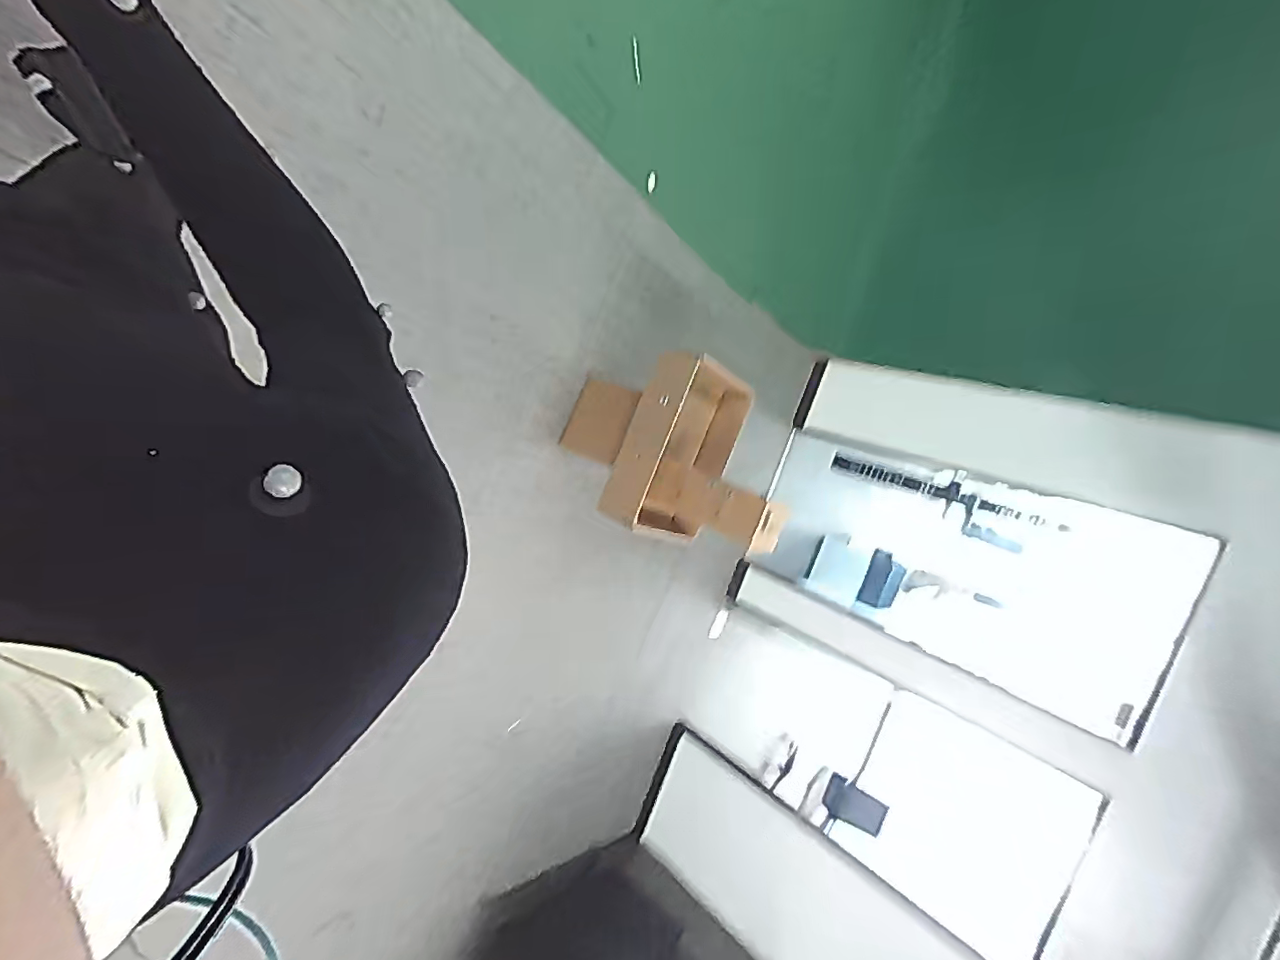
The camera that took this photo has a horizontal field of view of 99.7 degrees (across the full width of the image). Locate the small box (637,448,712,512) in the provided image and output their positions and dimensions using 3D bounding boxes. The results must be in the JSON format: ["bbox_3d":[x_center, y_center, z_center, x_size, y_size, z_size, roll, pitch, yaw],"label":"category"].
[{"bbox_3d":[0.123,-0.002,1.944,0.179,0.176,0.168,20,93,-50],"label":"small box"}]

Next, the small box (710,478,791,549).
[{"bbox_3d":[0.351,0.105,1.734,0.179,0.176,0.168,19,95,-51],"label":"small box"}]
